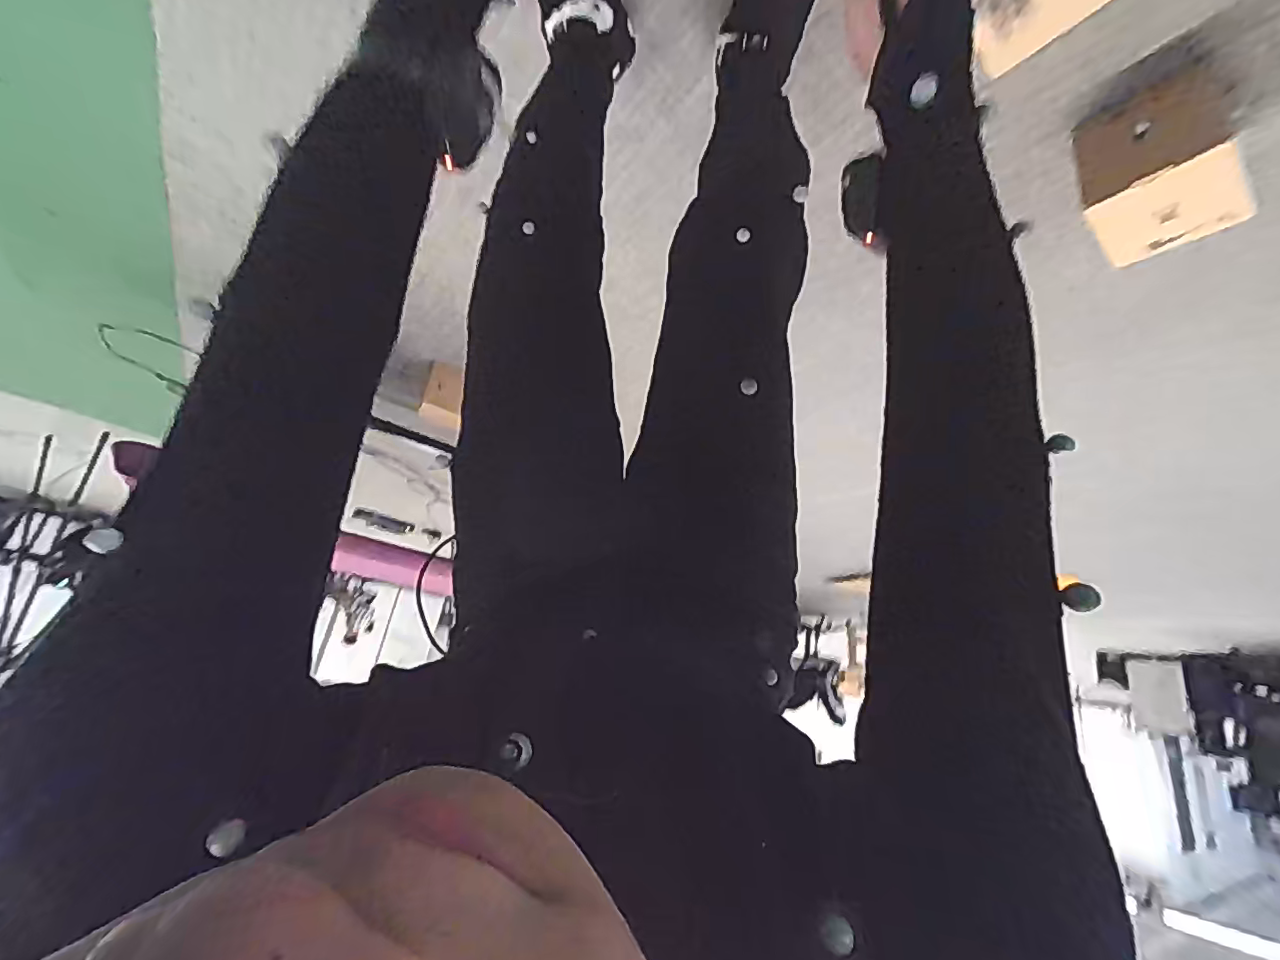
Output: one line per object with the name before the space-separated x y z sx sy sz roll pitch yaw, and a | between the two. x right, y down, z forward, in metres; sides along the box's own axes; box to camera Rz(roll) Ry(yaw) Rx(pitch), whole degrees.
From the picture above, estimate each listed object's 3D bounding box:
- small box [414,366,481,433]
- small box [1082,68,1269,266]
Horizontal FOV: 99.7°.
small box | -0.710 -0.299 1.993 0.179 0.176 0.168 19 159 -27
small box | 0.808 -0.475 0.825 0.179 0.176 0.168 23 156 -33
